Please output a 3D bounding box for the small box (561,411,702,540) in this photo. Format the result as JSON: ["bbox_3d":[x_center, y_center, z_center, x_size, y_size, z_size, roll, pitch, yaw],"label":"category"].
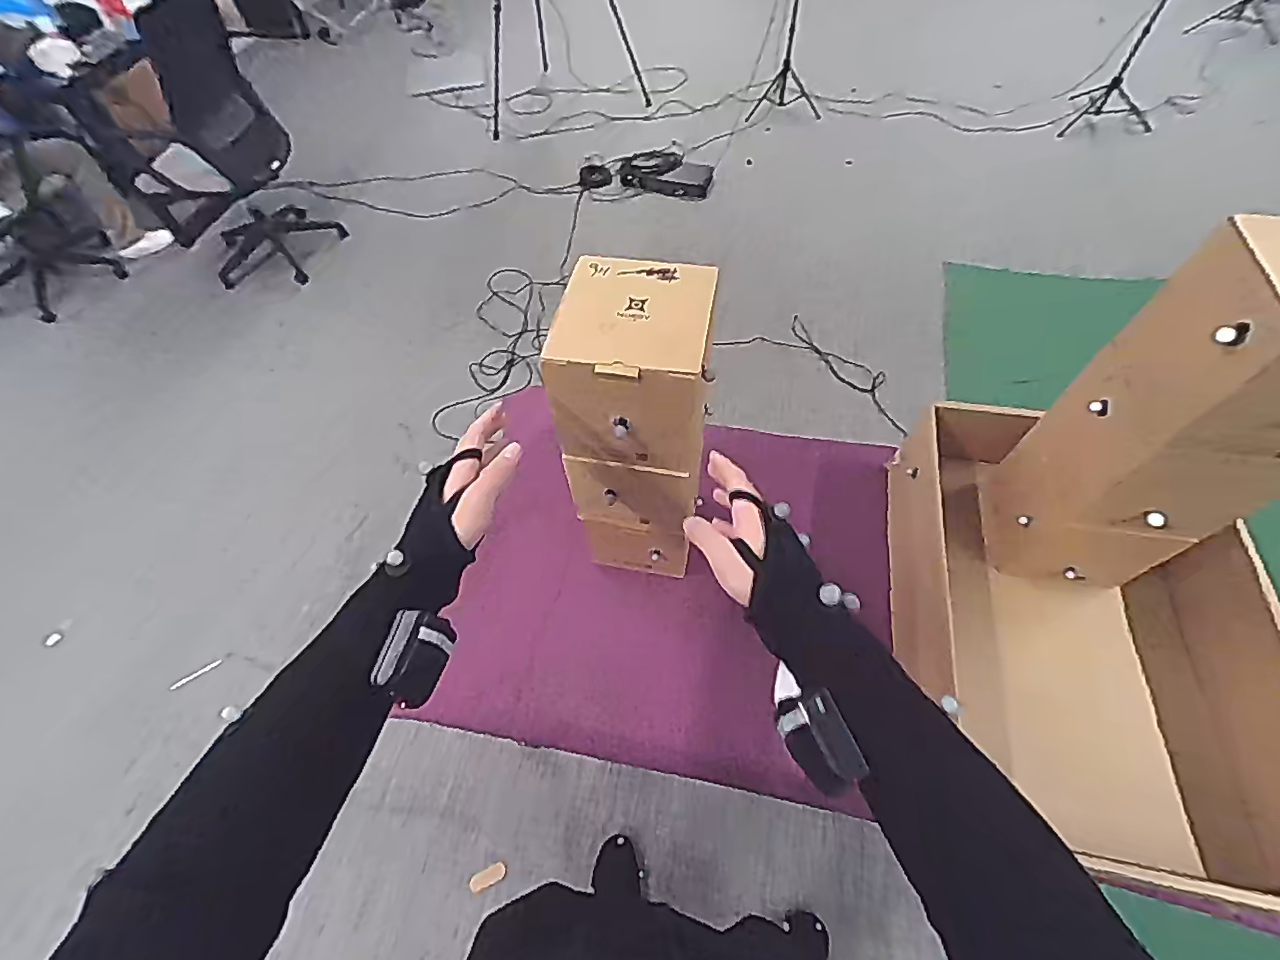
[{"bbox_3d":[-0.002,-0.032,0.784,0.168,0.176,0.179,9,57,8],"label":"small box"}]

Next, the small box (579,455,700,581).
[{"bbox_3d":[0.007,0.054,0.920,0.168,0.176,0.179,9,57,8],"label":"small box"}]

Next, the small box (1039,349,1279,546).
[{"bbox_3d":[0.646,-0.038,0.683,0.168,0.176,0.179,7,59,9],"label":"small box"}]

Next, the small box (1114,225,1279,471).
[{"bbox_3d":[0.635,-0.124,0.542,0.168,0.176,0.179,8,58,9],"label":"small box"}]

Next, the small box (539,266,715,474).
[{"bbox_3d":[-0.006,-0.126,0.650,0.168,0.176,0.179,8,58,7],"label":"small box"}]
